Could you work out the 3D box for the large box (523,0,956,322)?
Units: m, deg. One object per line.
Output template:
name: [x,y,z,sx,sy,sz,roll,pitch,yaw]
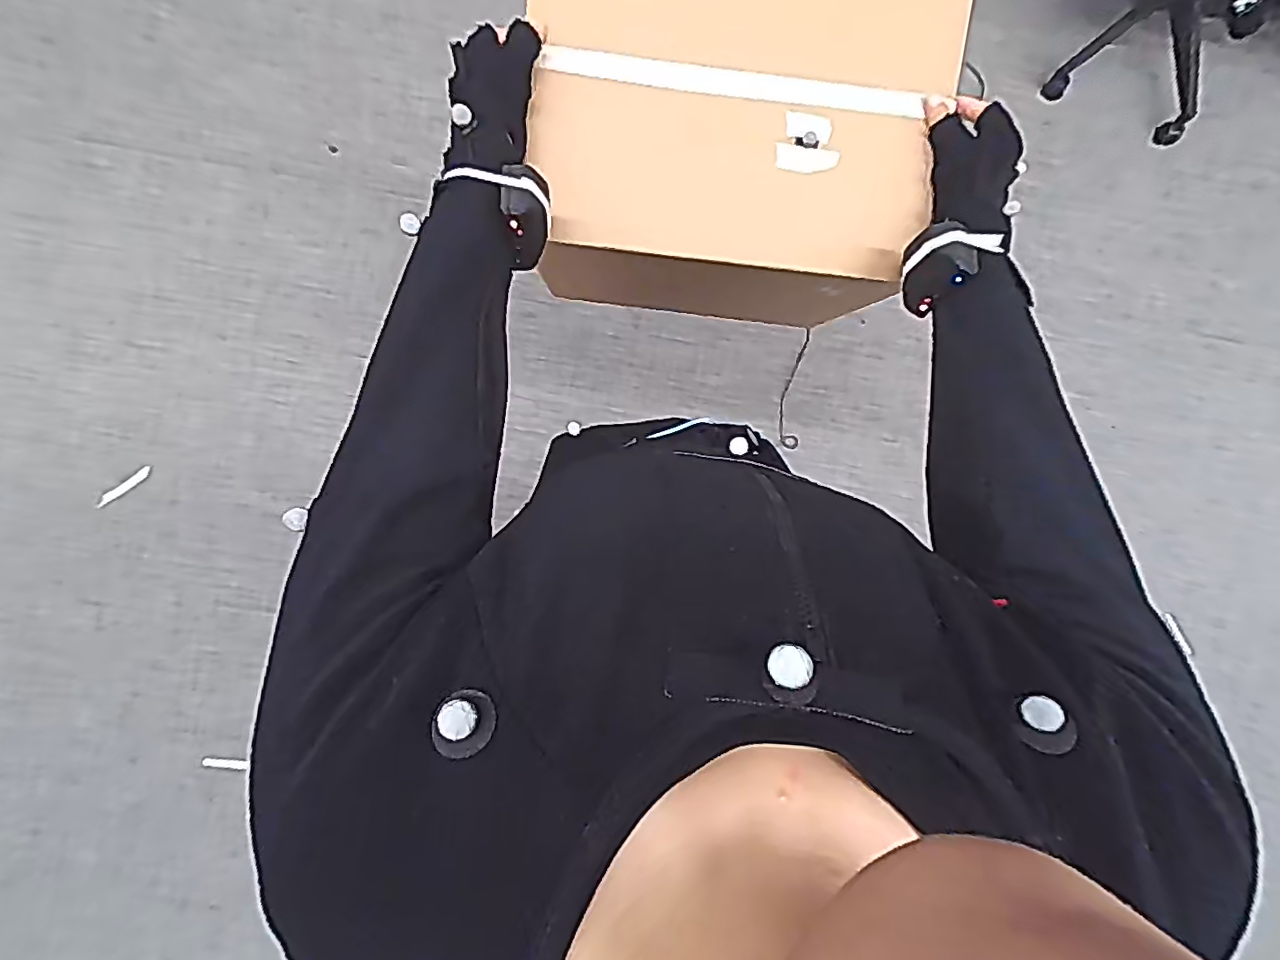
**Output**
large box: [0.085,-0.390,0.663,0.408,0.320,0.320,5,99,-4]
